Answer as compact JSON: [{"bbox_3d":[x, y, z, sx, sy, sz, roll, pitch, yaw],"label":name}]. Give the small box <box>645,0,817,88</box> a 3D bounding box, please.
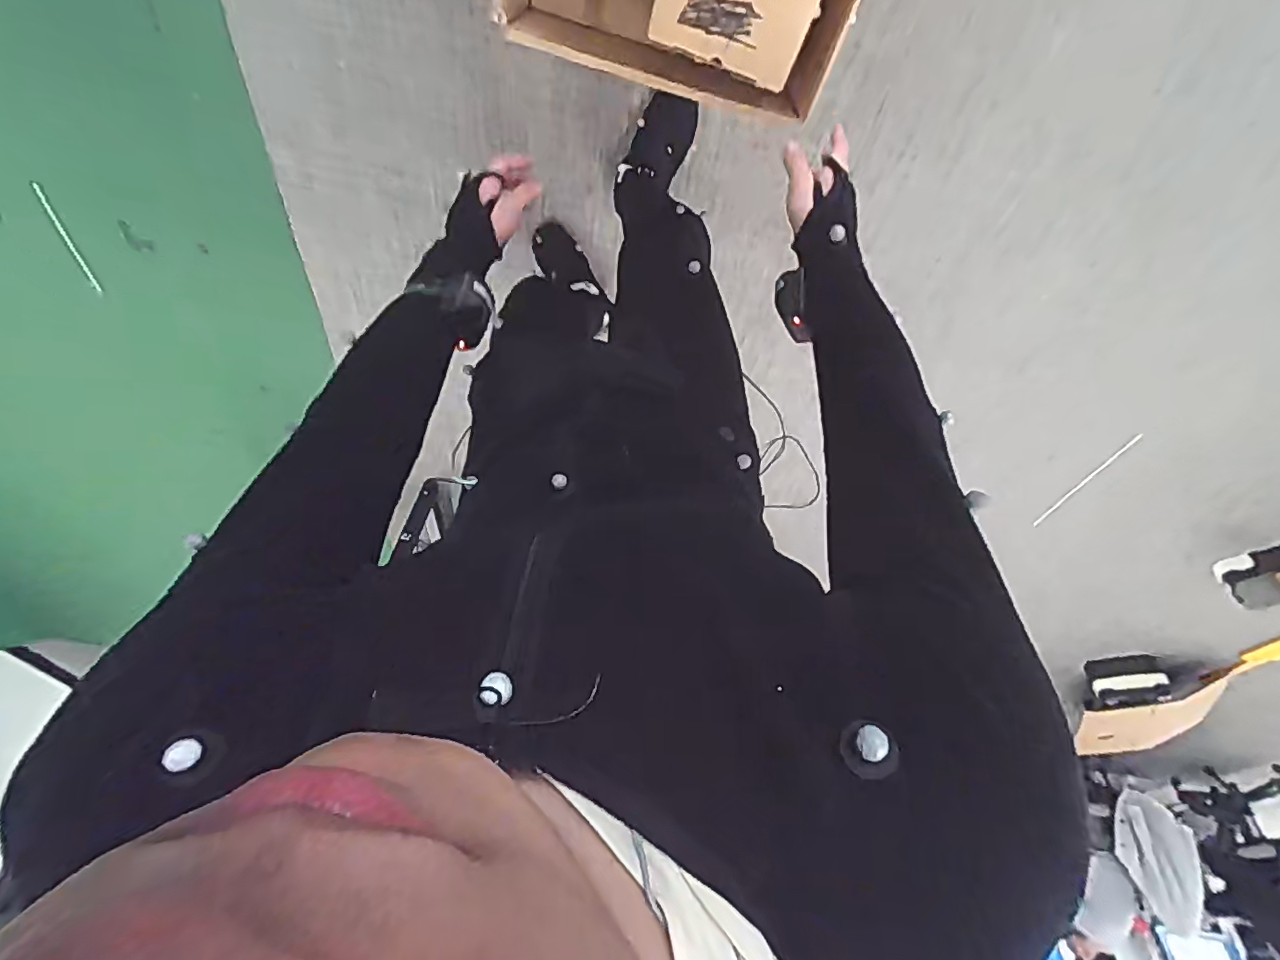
[{"bbox_3d":[0.116,-0.581,0.591,0.168,0.176,0.179,15,139,-10],"label":"small box"}]
